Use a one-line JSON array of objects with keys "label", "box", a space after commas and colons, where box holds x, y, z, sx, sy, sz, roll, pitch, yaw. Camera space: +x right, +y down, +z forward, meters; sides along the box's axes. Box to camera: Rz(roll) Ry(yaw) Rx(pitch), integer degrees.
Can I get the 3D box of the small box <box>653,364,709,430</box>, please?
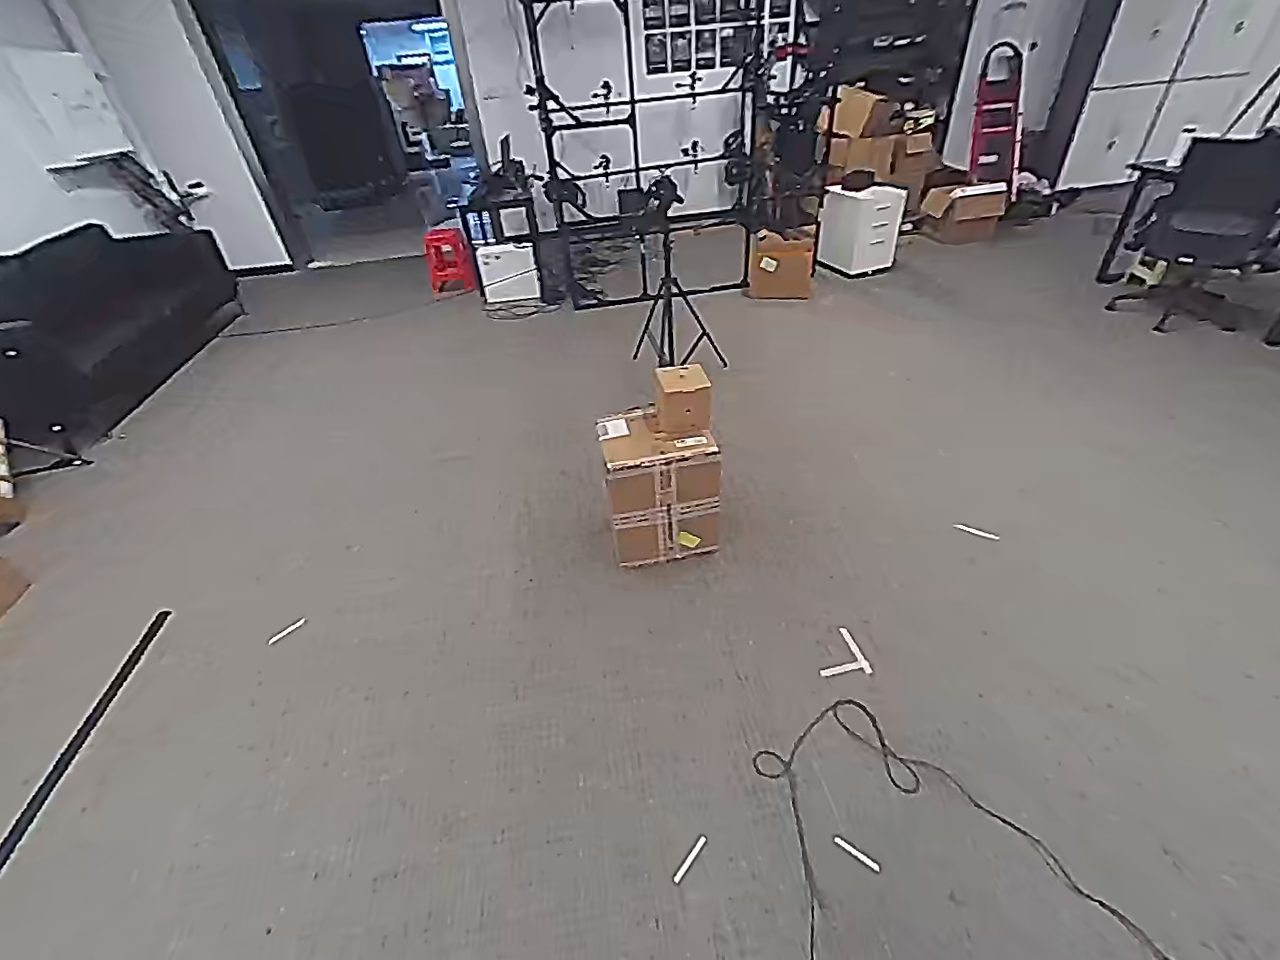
[{"label": "small box", "box": [0.144, -0.290, 1.931, 0.168, 0.176, 0.179, -8, 40, -7]}]
